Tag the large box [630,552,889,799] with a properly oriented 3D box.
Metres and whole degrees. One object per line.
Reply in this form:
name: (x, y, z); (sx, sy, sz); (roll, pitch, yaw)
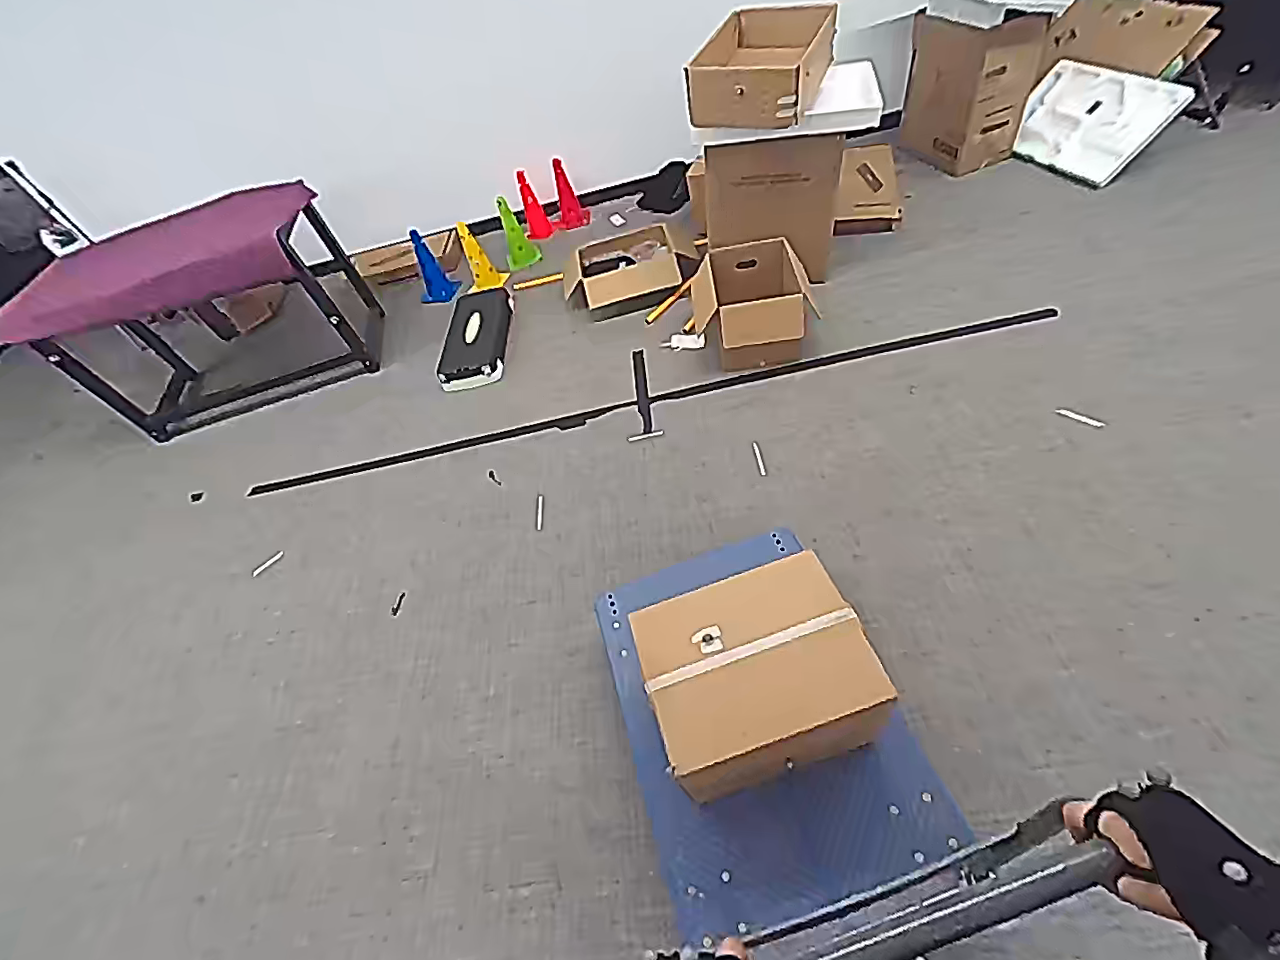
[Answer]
large box: (0.237, 0.415, 1.132); (0.408, 0.320, 0.320); (-20, 49, -1)
